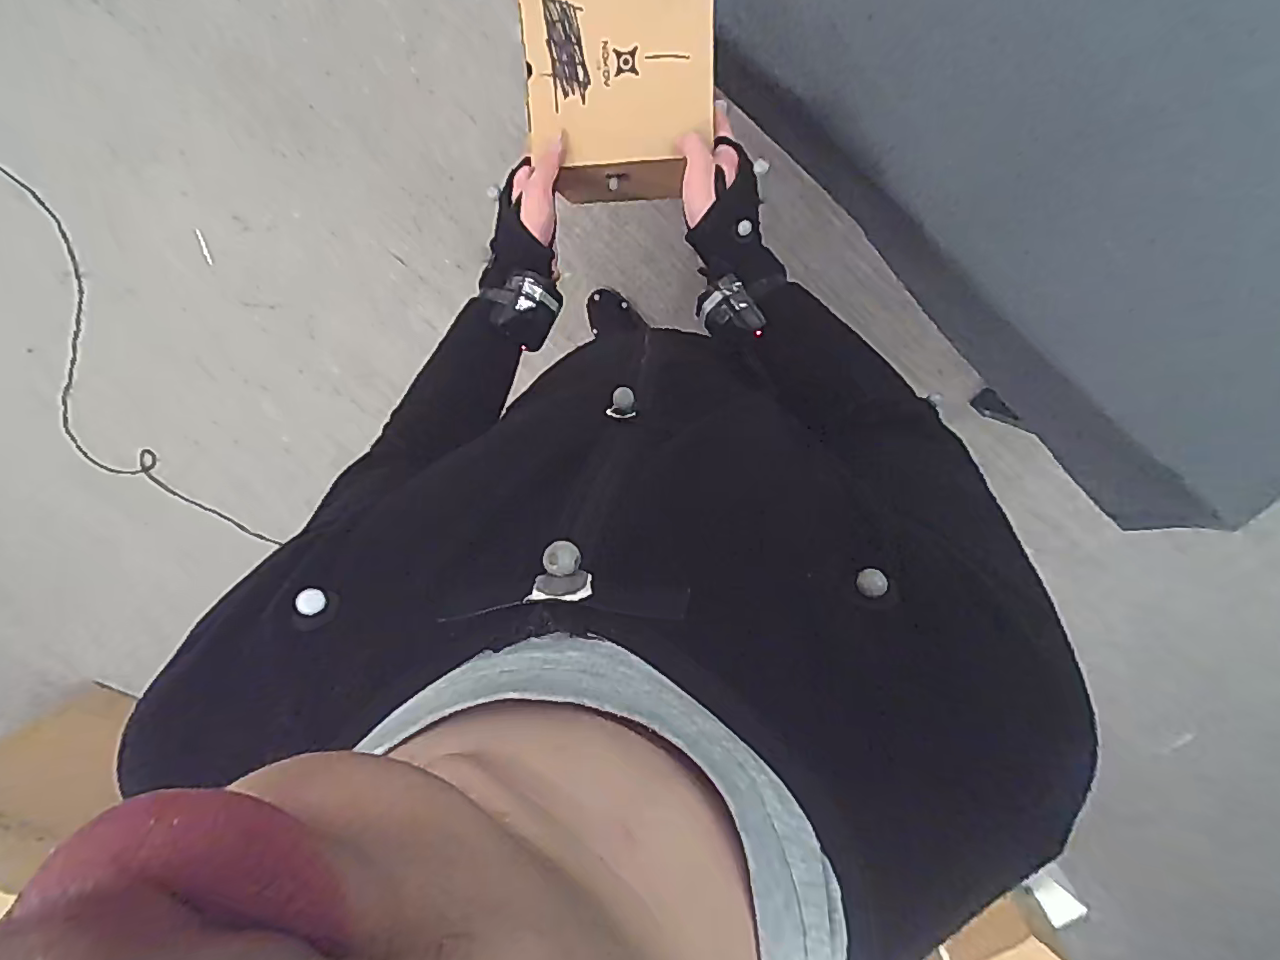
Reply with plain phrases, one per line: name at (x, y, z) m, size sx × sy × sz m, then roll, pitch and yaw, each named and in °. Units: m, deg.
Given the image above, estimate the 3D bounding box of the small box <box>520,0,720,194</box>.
small box at (-0.011, -0.400, 0.551) m, size 0.179 × 0.176 × 0.168 m, roll 0°, pitch 107°, yaw 4°

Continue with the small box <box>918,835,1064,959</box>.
small box at (0.727, 0.911, 1.151) m, size 0.168 × 0.176 × 0.179 m, roll 41°, pitch 107°, yaw -11°
